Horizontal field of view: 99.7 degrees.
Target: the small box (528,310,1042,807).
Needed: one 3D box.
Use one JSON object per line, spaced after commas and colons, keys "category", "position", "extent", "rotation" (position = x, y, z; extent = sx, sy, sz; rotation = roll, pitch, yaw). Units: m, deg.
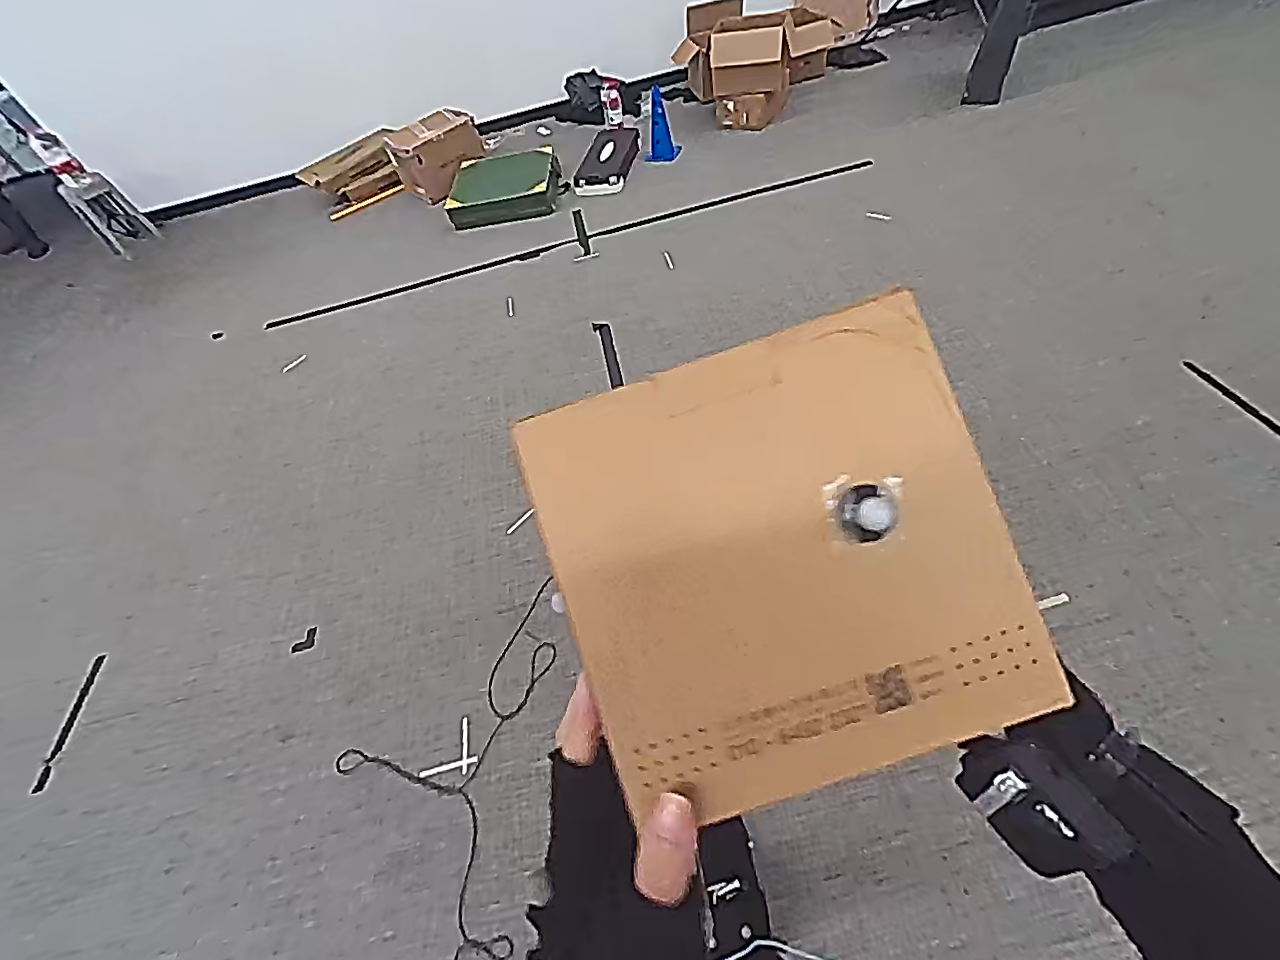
{"category": "small box", "position": [0.060, 0.042, 0.289], "extent": [0.168, 0.179, 0.176], "rotation": [-18, 86, 0]}
